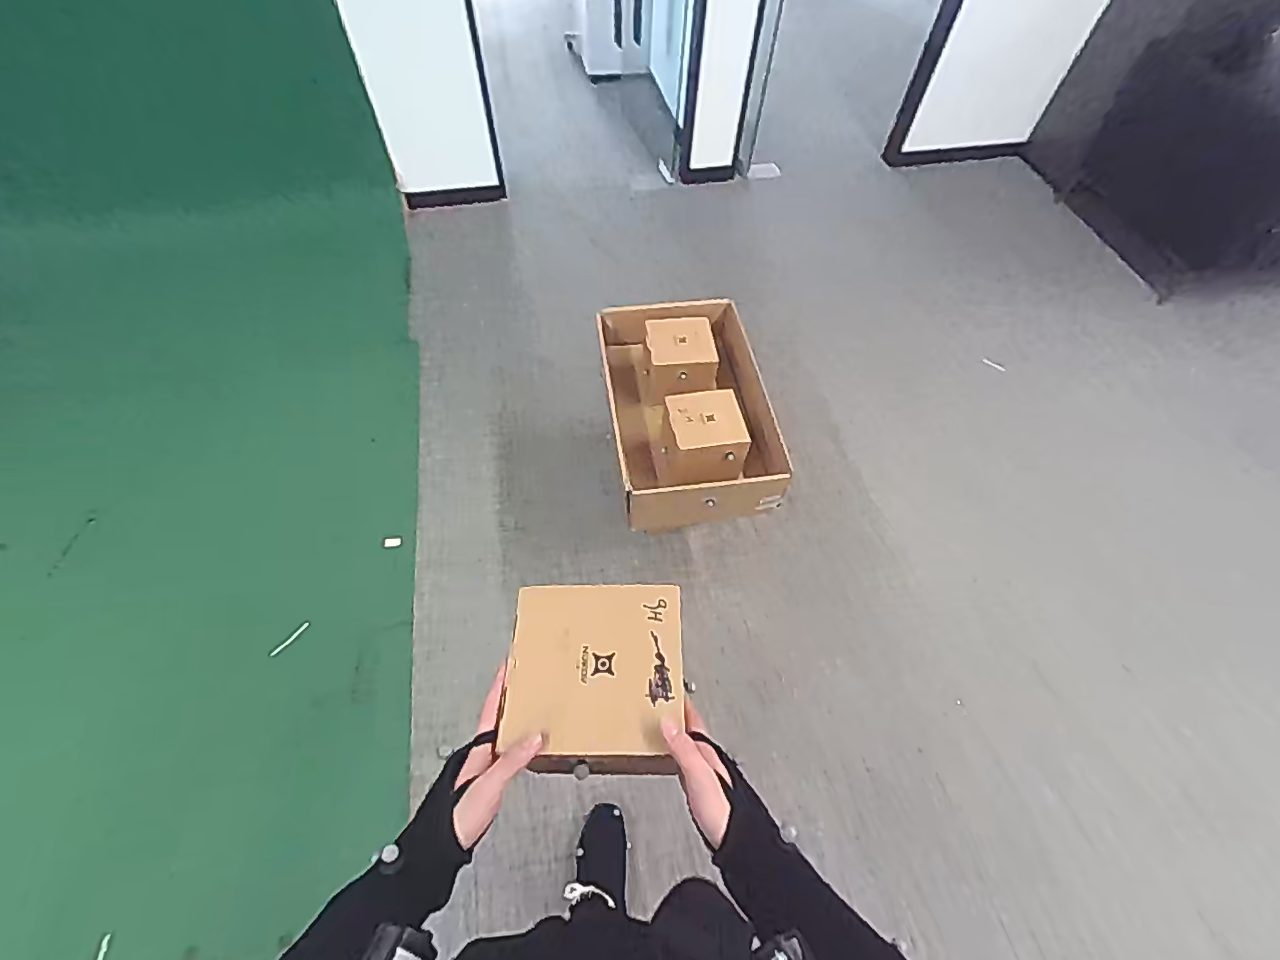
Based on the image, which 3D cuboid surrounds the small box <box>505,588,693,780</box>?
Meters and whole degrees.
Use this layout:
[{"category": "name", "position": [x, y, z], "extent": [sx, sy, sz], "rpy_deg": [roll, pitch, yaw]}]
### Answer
[{"category": "small box", "position": [-0.032, 0.230, 0.598], "extent": [0.179, 0.176, 0.168], "rpy_deg": [0, 56, 2]}]

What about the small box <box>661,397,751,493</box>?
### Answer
[{"category": "small box", "position": [0.156, -0.085, 1.347], "extent": [0.179, 0.176, 0.168], "rpy_deg": [-8, 57, -7]}]

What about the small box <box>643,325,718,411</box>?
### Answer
[{"category": "small box", "position": [0.103, -0.305, 1.491], "extent": [0.179, 0.176, 0.168], "rpy_deg": [-4, 58, -7]}]
